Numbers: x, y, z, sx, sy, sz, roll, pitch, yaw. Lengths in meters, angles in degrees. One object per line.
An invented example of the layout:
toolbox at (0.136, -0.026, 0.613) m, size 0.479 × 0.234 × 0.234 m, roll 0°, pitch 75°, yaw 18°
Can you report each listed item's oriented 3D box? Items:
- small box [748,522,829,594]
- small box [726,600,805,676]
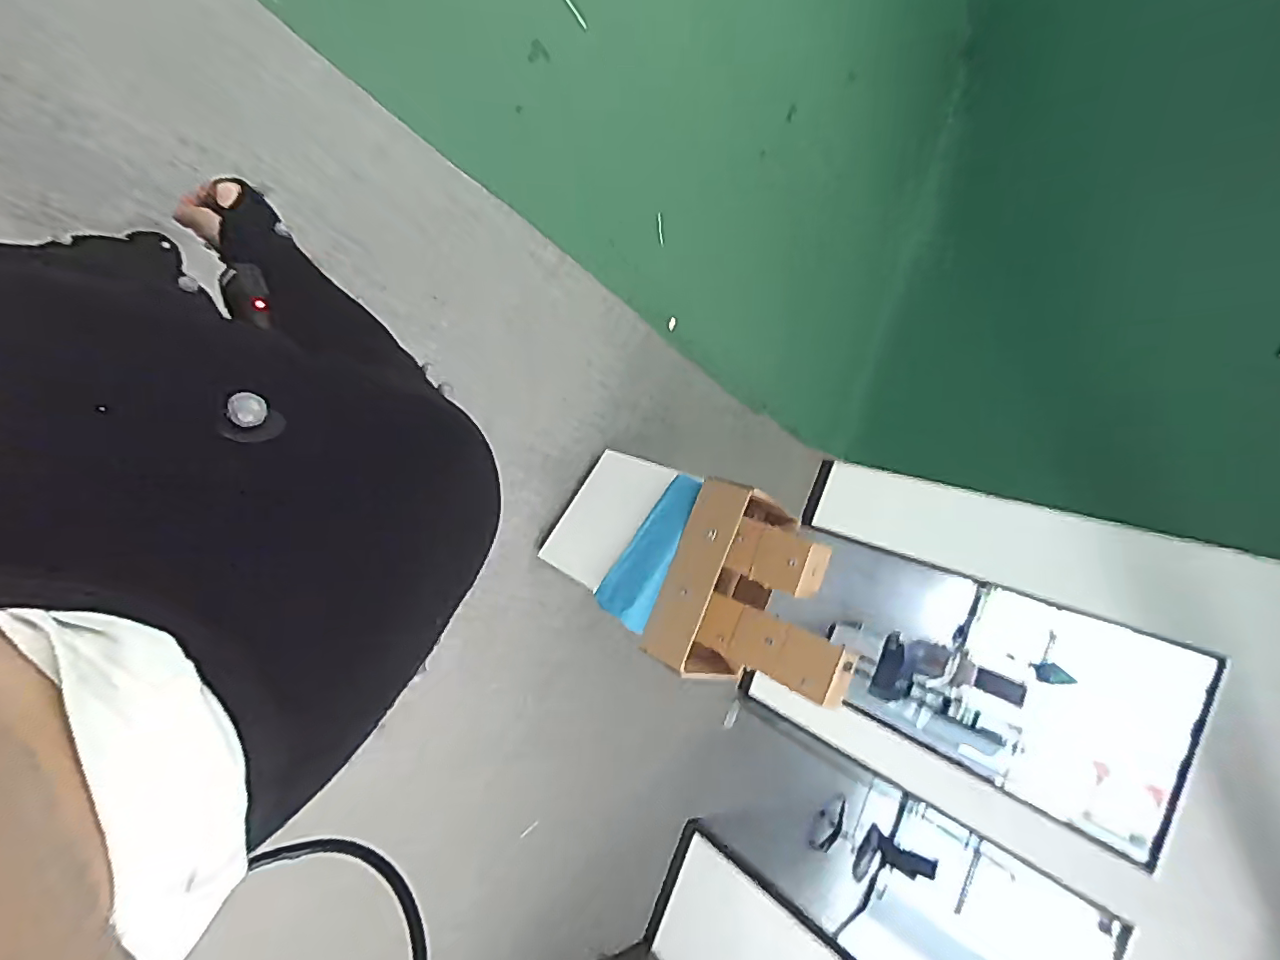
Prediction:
small box at (0.468, 0.245, 1.713) m, size 0.168 × 0.176 × 0.179 m, roll 18°, pitch 93°, yaw -49°
small box at (0.403, 0.508, 1.747) m, size 0.168 × 0.176 × 0.179 m, roll 31°, pitch 82°, yaw -48°
